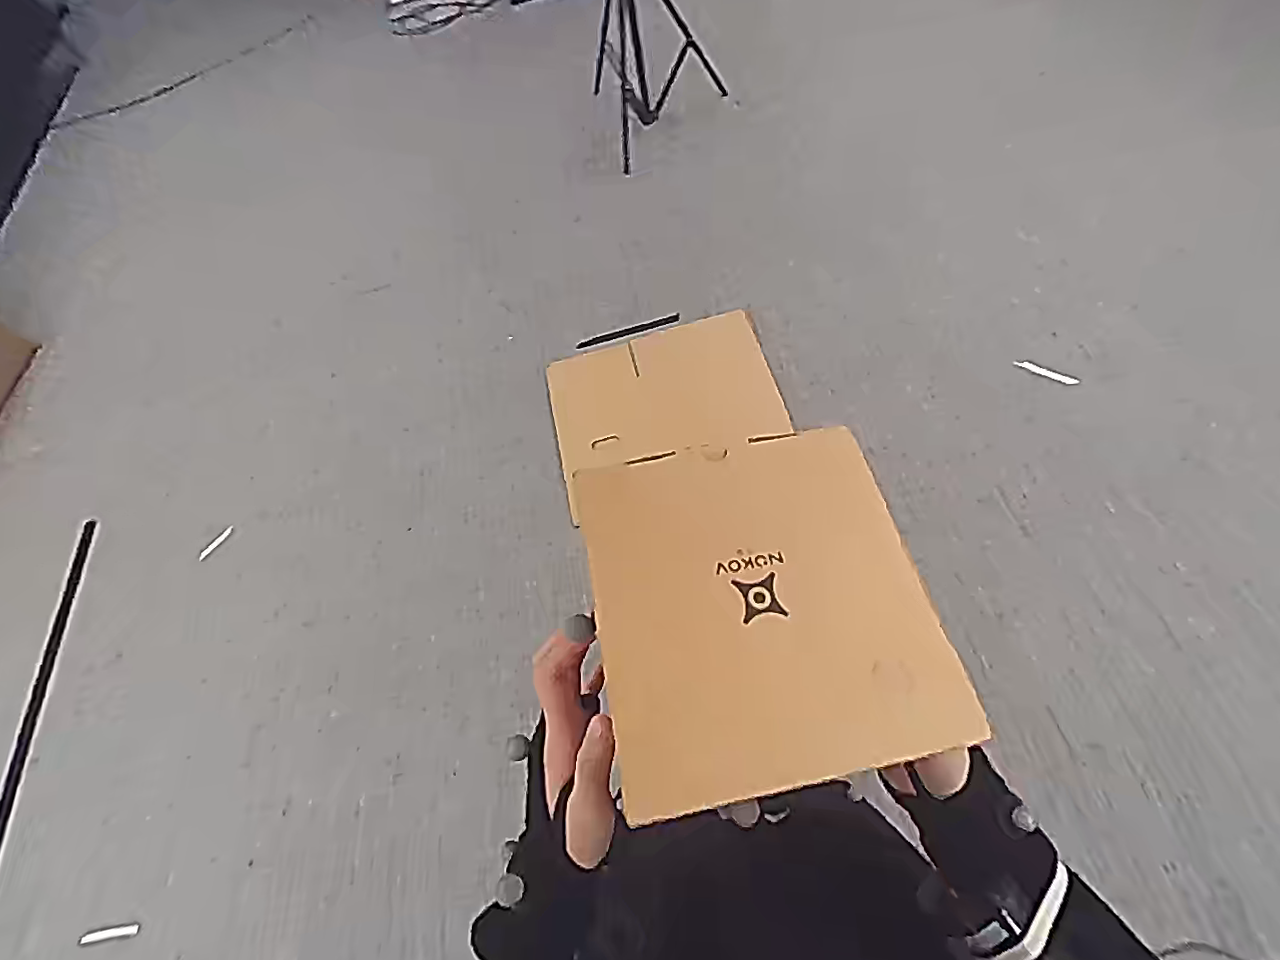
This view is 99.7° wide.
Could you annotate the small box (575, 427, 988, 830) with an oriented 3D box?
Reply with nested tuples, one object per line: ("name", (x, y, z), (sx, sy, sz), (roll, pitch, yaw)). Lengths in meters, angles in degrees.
("small box", (0.059, 0.095, 0.338), (0.168, 0.176, 0.179), (-10, 60, -5))
